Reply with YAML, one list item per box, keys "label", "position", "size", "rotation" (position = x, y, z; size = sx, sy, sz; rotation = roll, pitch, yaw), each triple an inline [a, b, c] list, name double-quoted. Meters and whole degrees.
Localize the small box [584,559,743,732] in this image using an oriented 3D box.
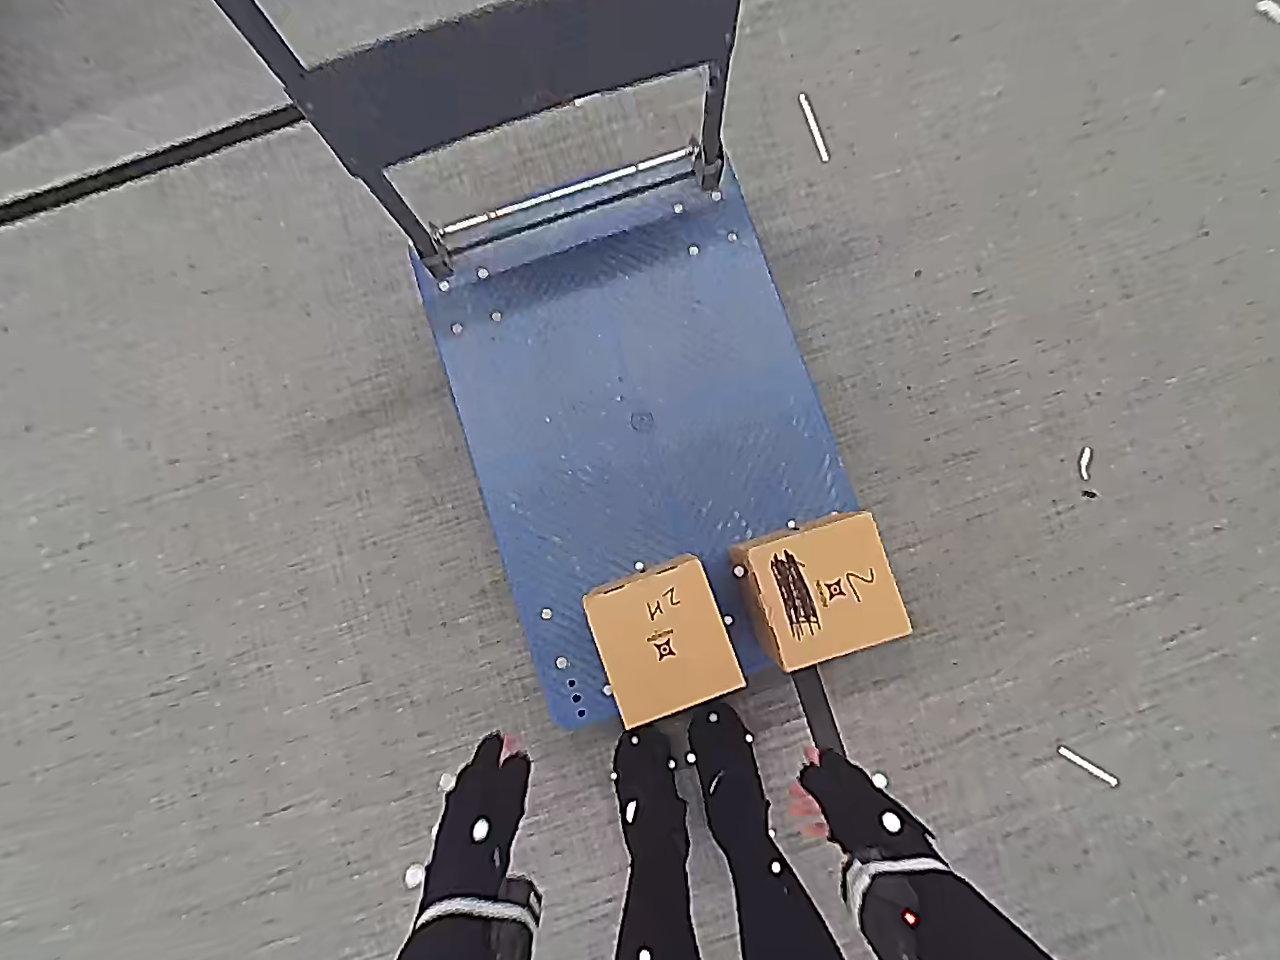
- label: "small box"
  position: [0.033, 0.223, 0.777]
  size: [0.168, 0.176, 0.179]
  rotation: [-20, 84, -1]
